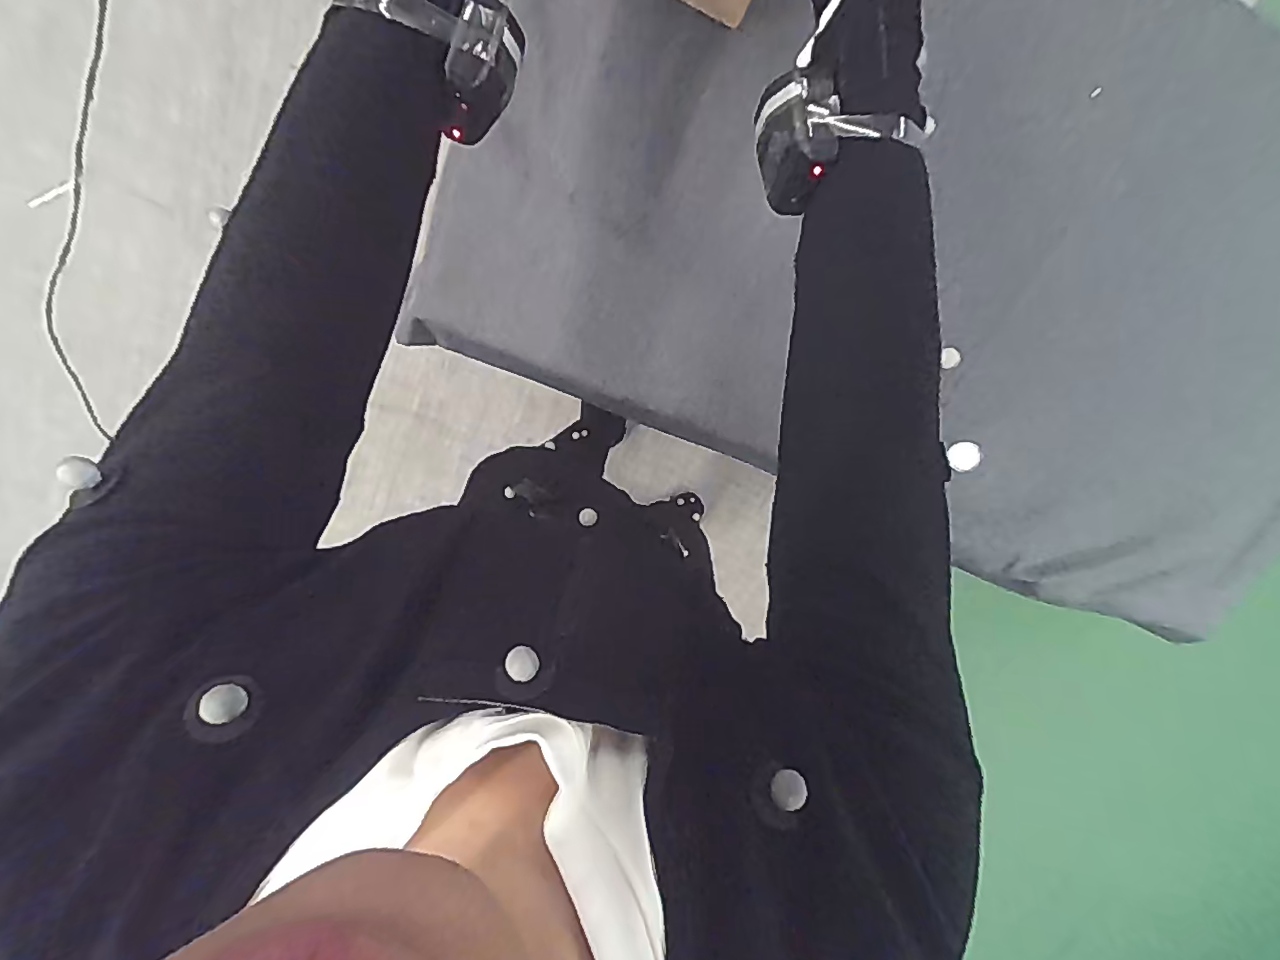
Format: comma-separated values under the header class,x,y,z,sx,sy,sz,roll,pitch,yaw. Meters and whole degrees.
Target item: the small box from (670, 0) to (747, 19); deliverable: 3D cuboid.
class,x,y,z,sx,sy,sz,roll,pitch,yaw
small box,0.050,-0.520,0.430,0.179,0.176,0.168,21,109,-9
